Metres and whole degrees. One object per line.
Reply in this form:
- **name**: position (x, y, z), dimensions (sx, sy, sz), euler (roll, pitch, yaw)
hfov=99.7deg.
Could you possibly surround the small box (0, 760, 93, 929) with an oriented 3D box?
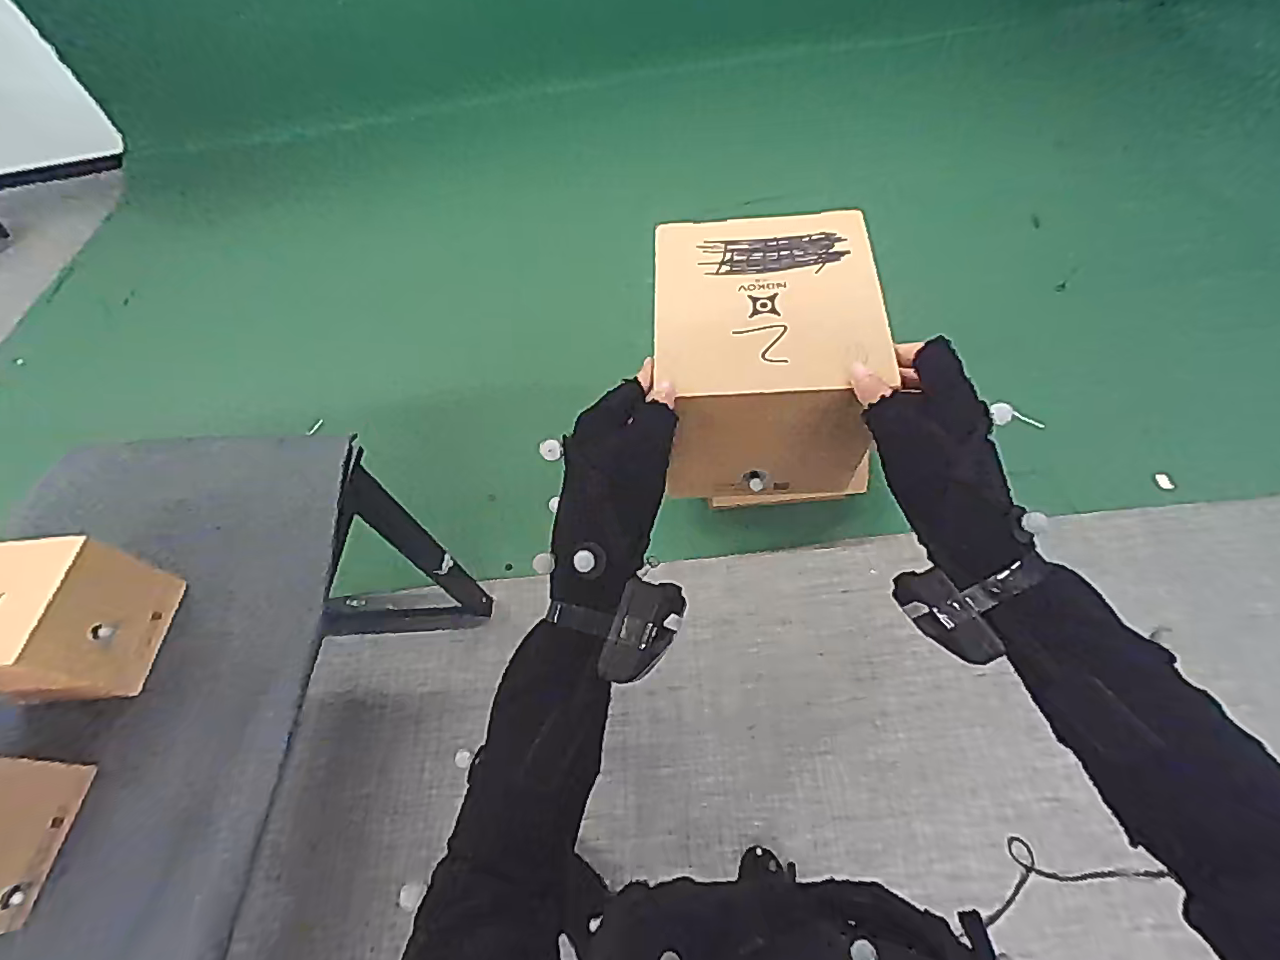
- **small box**: position (-0.786, 0.402, 0.595), dimensions (0.179, 0.176, 0.168), euler (-4, 57, 7)

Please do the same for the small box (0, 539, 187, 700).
- **small box**: position (-0.778, 0.193, 0.729), dimensions (0.179, 0.176, 0.168), euler (-6, 57, 5)
